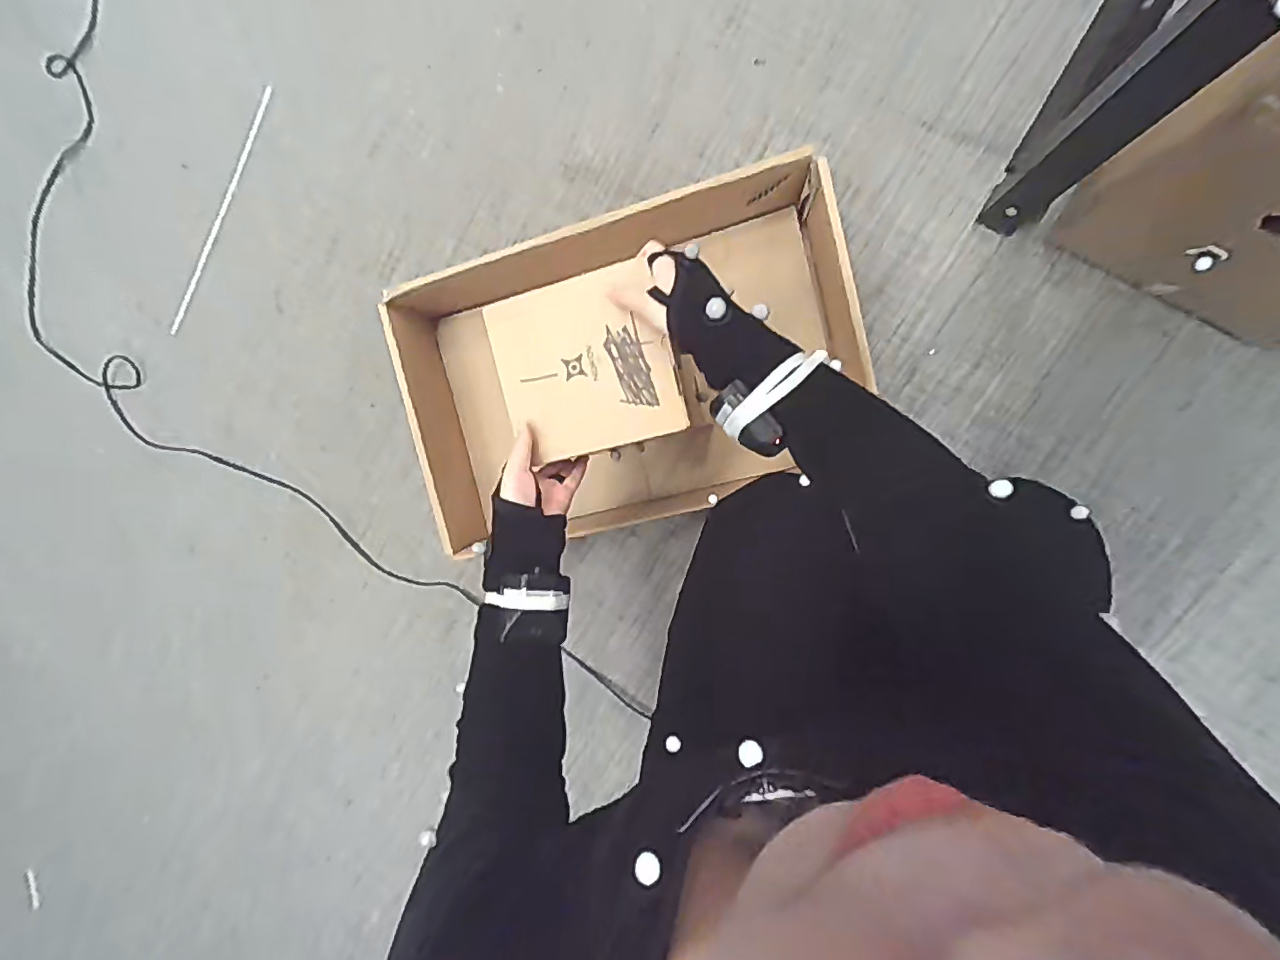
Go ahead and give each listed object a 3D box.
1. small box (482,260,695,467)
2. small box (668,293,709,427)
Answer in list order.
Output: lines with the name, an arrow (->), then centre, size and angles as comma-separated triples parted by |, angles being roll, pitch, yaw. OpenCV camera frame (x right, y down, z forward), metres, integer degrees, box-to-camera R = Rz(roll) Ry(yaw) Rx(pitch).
small box -> -0.040, -0.119, 0.597 | 0.179, 0.176, 0.168 | -12, 95, 14
small box -> -0.009, -0.140, 0.758 | 0.179, 0.176, 0.168 | -13, 95, 12
